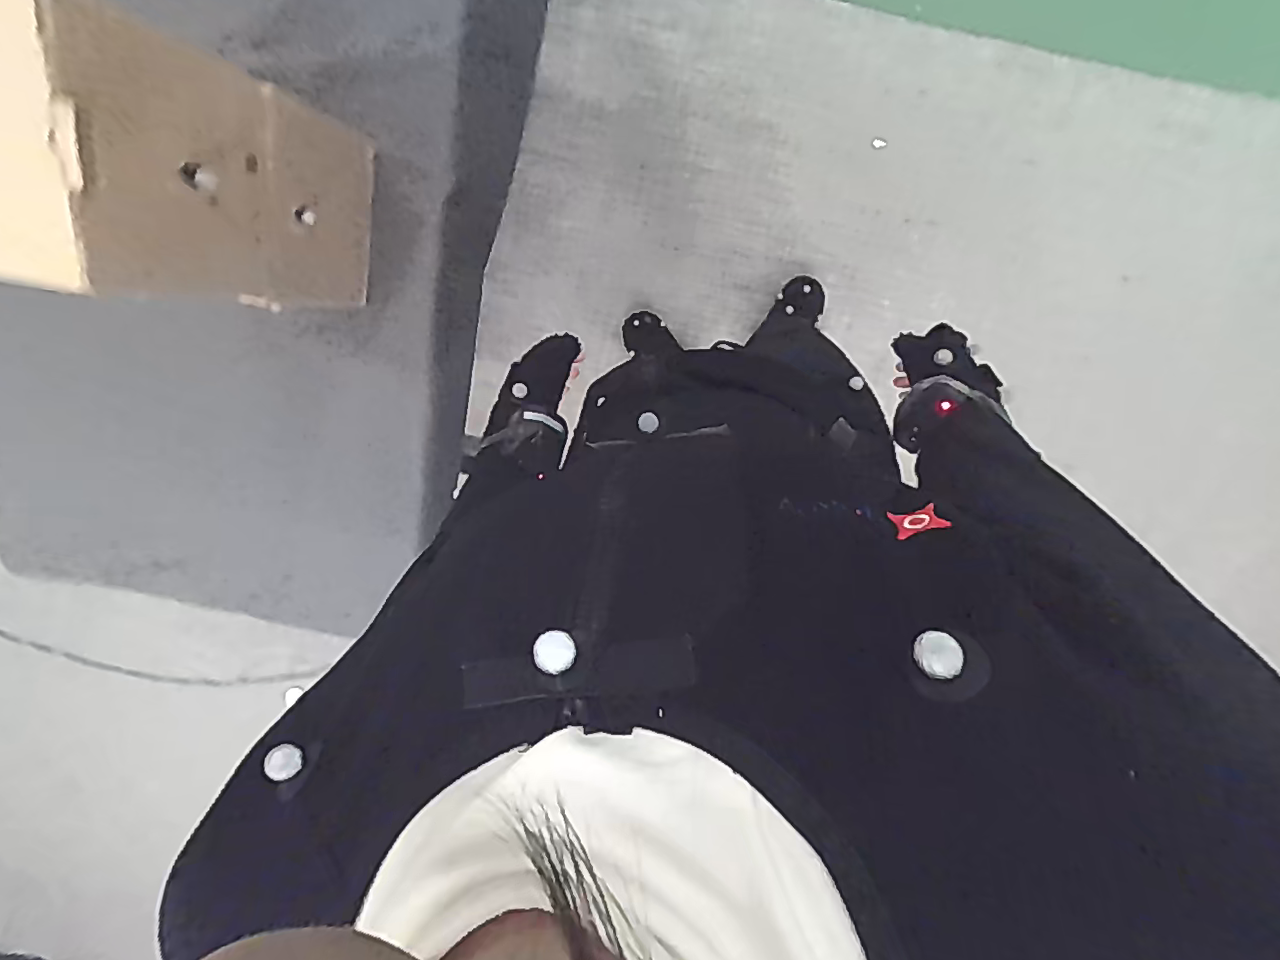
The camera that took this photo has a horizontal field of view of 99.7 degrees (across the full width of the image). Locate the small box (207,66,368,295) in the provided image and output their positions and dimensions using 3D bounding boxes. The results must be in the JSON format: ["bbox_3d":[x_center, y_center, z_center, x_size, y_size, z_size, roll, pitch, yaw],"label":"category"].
[{"bbox_3d":[-0.393,-0.288,0.534,0.168,0.176,0.179,12,108,-1],"label":"small box"}]

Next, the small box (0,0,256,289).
[{"bbox_3d":[-0.406,-0.237,0.380,0.179,0.176,0.168,11,110,-1],"label":"small box"}]
